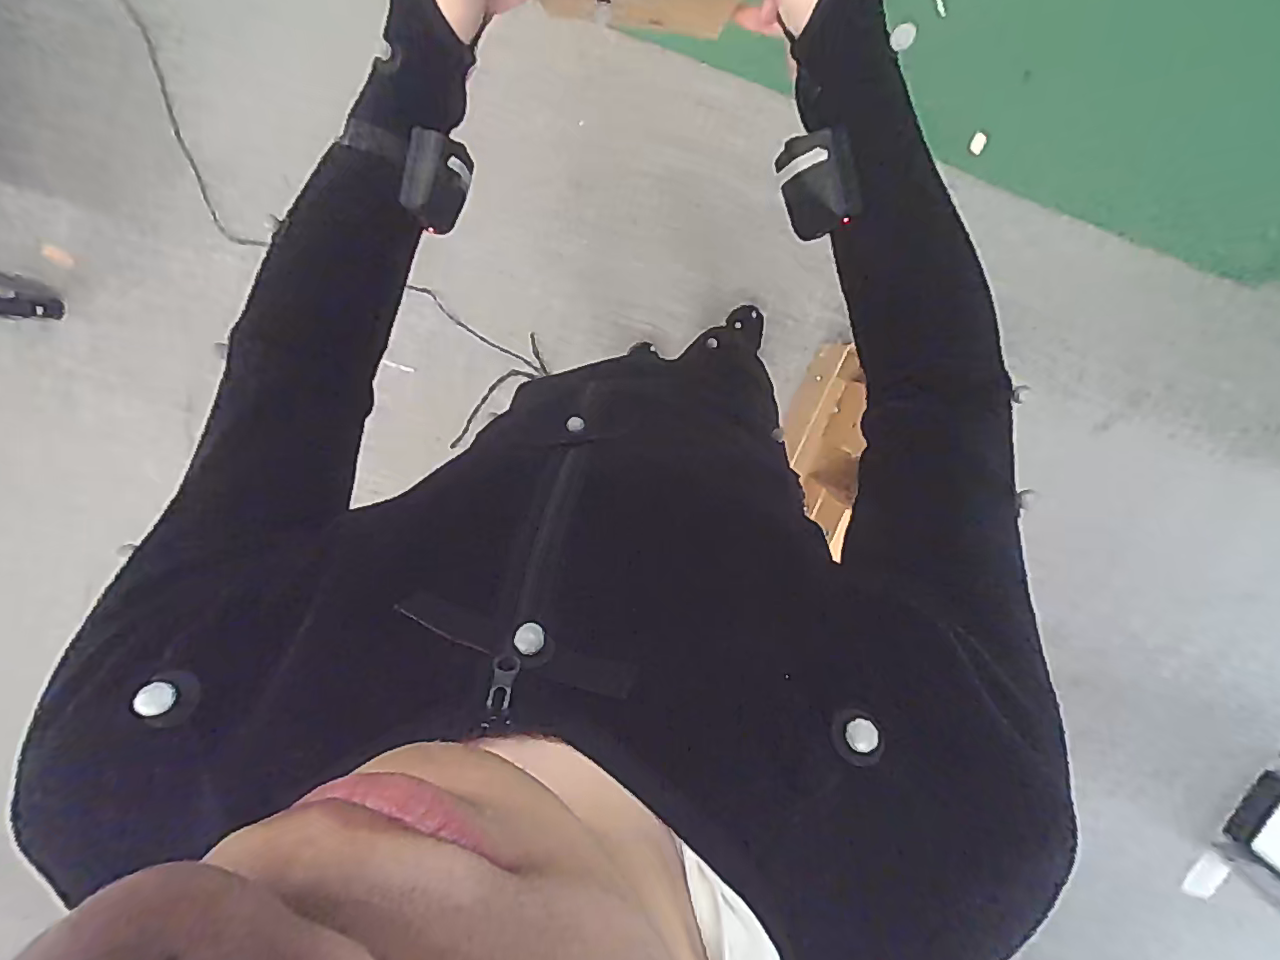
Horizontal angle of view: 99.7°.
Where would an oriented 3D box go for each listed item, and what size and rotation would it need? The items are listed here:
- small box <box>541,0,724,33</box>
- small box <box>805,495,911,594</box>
[{"bbox_3d":[-0.004,-0.459,0.396,0.168,0.176,0.179,4,119,-2],"label":"small box"},{"bbox_3d":[0.538,0.155,1.366,0.168,0.176,0.179,19,103,-3],"label":"small box"}]
